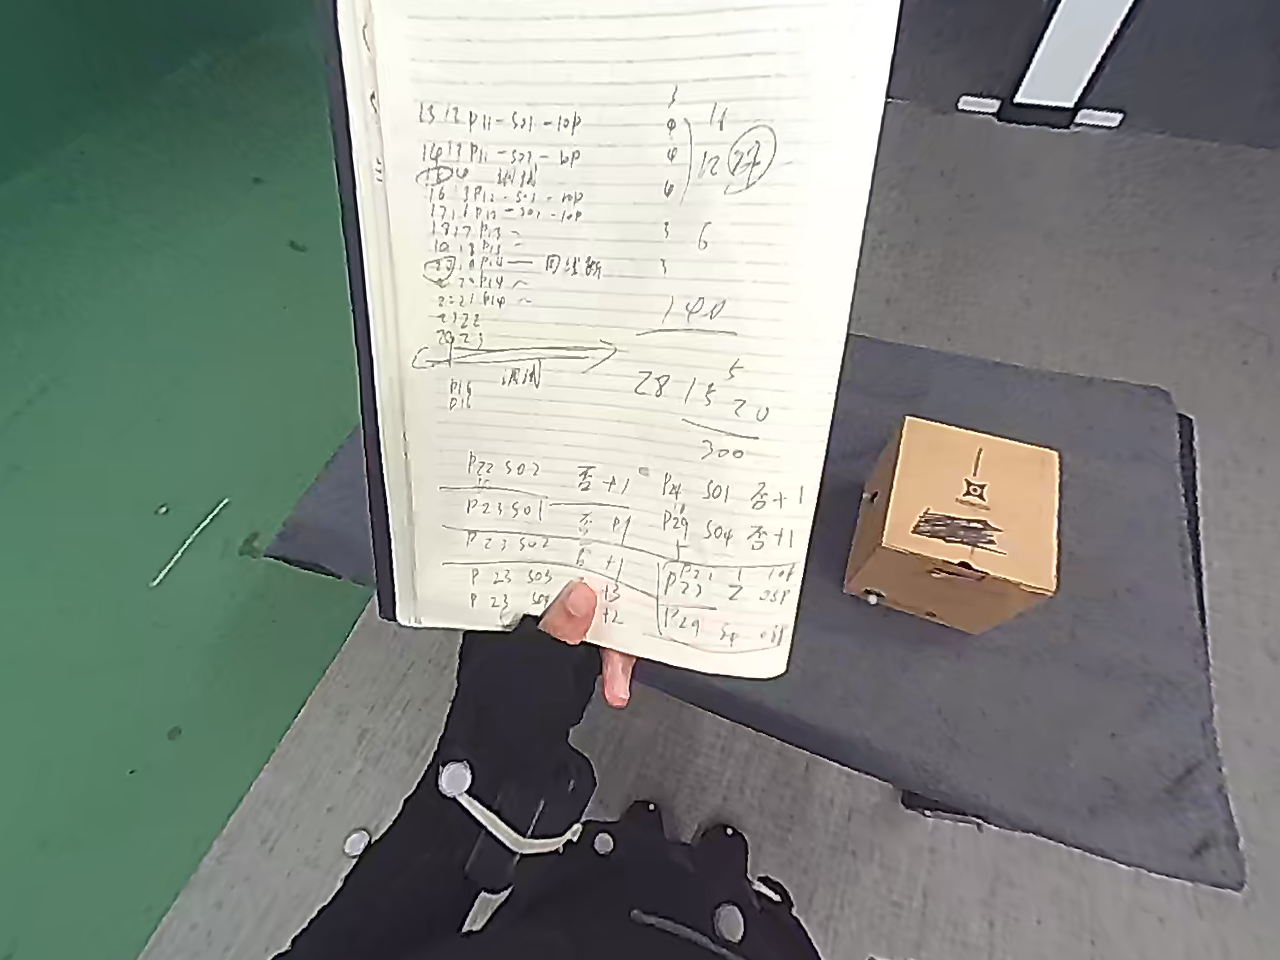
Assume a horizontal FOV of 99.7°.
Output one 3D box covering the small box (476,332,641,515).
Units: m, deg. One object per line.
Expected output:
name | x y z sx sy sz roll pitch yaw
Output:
small box | -0.100 -0.076 0.768 0.168 0.176 0.179 13 63 12

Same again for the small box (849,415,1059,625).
small box | 0.366 0.054 0.654 0.168 0.176 0.179 17 63 14
